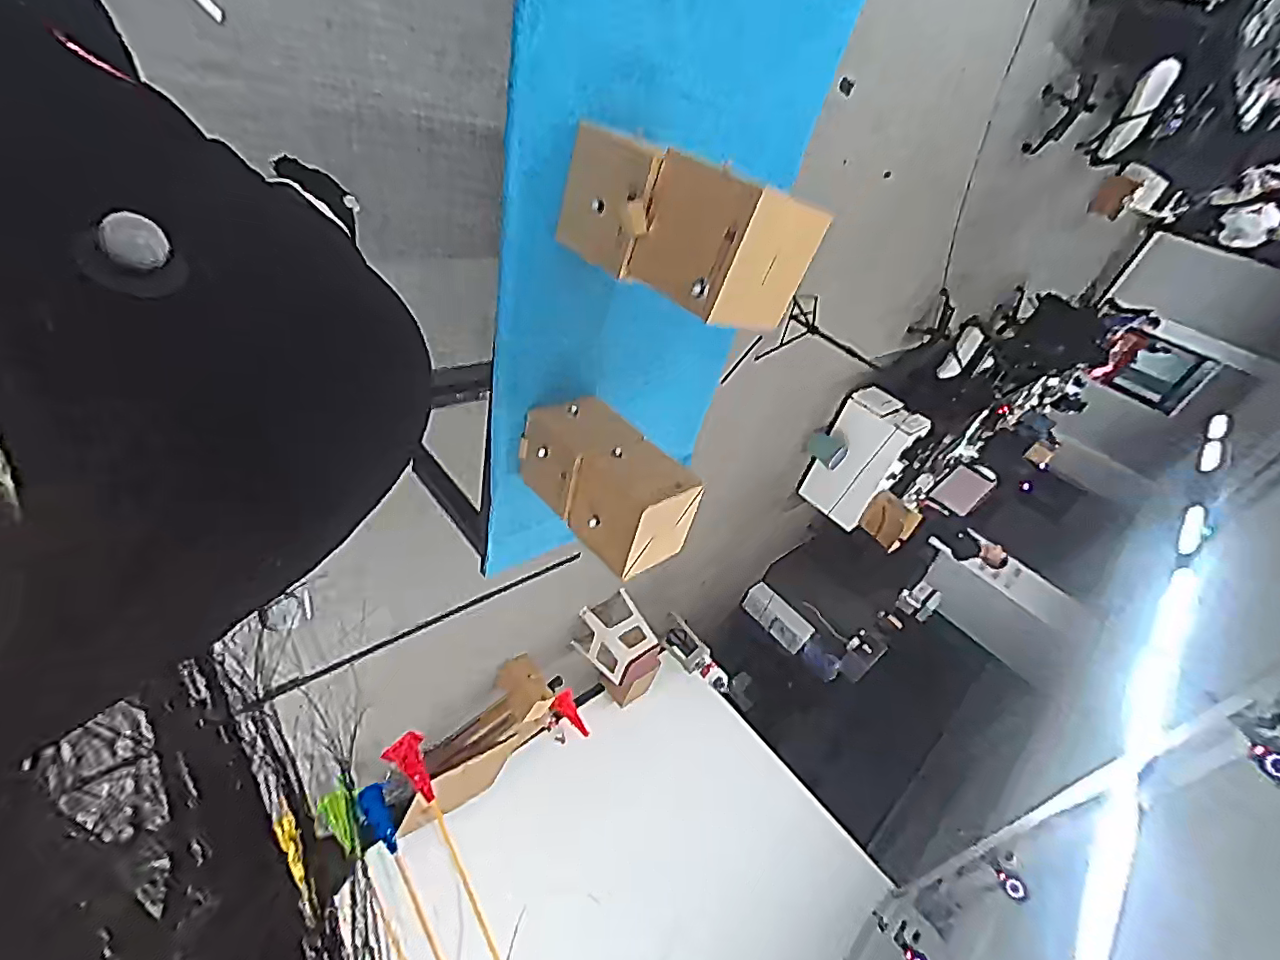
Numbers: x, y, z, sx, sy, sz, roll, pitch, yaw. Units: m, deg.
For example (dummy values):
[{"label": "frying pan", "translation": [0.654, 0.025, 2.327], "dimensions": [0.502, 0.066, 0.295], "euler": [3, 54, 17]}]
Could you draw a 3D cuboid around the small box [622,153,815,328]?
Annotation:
[{"label": "small box", "translation": [0.110, -0.324, 0.752], "dimensions": [0.179, 0.176, 0.168], "euler": [-12, 135, -45]}]

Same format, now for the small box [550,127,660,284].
[{"label": "small box", "translation": [-0.008, -0.411, 0.829], "dimensions": [0.179, 0.176, 0.168], "euler": [-17, 139, -43]}]

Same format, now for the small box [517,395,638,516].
[{"label": "small box", "translation": [-0.128, -0.049, 1.103], "dimensions": [0.179, 0.176, 0.168], "euler": [-23, 142, -40]}]

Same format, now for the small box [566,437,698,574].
[{"label": "small box", "translation": [-0.017, 0.048, 1.032], "dimensions": [0.168, 0.176, 0.179], "euler": [-22, 139, -42]}]
